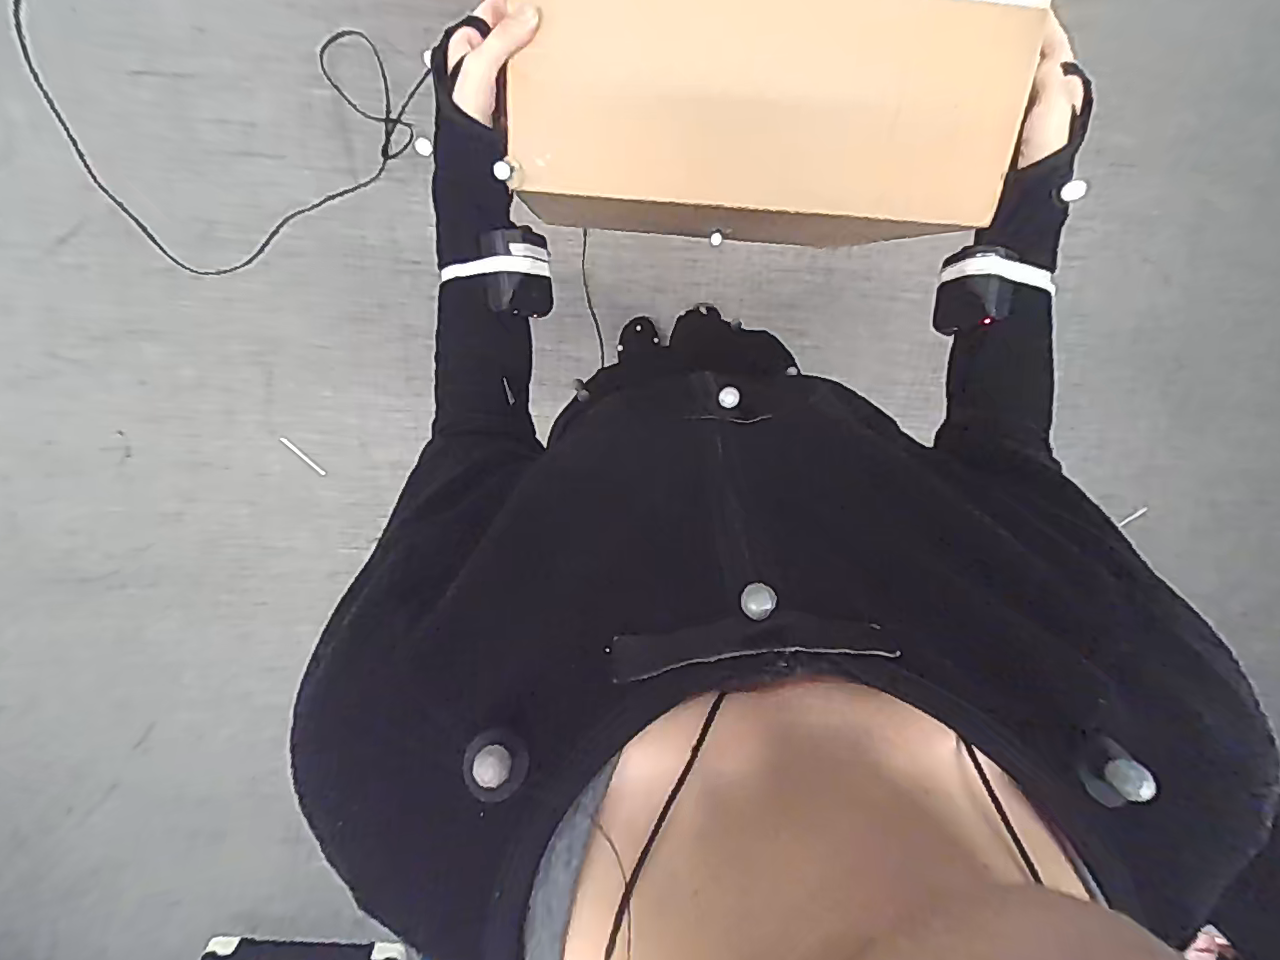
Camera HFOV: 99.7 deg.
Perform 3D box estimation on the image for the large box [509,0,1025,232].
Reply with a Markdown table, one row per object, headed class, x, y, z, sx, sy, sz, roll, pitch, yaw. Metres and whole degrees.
| class | x | y | z | sx | sy | sz | roll | pitch | yaw |
| --- | --- | --- | --- | --- | --- | --- | --- | --- | --- |
| large box | 0.094 | -0.432 | 0.541 | 0.408 | 0.320 | 0.320 | 2 | 110 | -4 |
